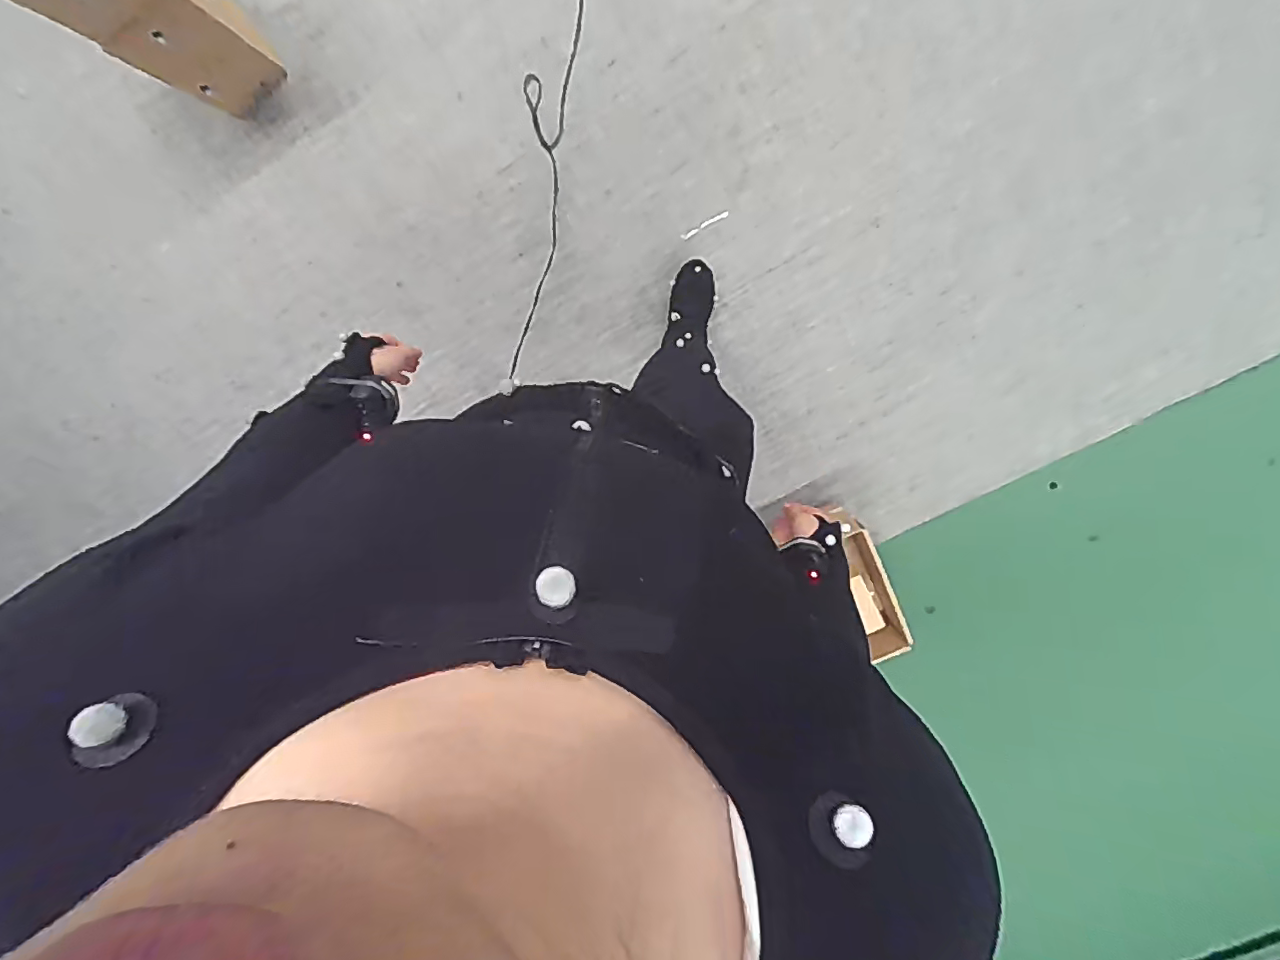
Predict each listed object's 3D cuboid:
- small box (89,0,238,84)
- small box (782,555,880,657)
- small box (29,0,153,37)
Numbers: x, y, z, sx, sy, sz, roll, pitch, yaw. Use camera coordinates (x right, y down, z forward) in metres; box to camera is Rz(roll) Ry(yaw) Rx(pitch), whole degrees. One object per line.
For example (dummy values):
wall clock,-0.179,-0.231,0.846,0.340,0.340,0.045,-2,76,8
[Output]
small box,-0.885,-0.863,0.968,0.179,0.176,0.168,-30,106,7
small box,0.507,0.333,1.453,0.168,0.176,0.179,-28,104,7
small box,-0.881,-0.824,0.808,0.179,0.176,0.168,-29,106,8
